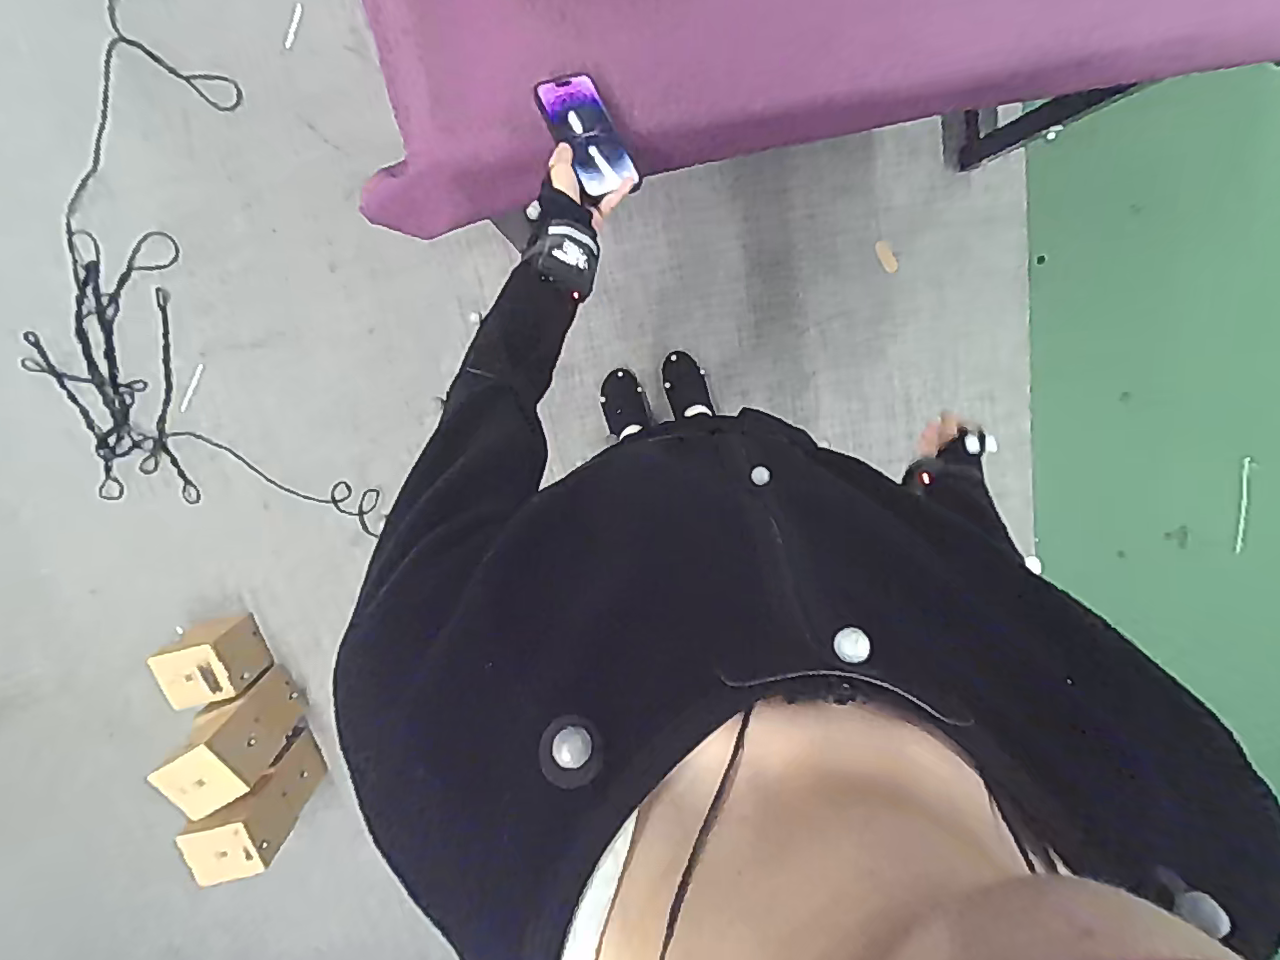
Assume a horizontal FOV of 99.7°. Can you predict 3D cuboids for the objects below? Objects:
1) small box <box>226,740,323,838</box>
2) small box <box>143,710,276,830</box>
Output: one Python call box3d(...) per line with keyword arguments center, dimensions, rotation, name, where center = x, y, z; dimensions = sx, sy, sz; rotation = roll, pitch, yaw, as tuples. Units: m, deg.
box3d(center=(-1.068, 0.887, 1.575), dimensions=(0.168, 0.176, 0.179), rotation=(-13, 105, 0), name="small box")
box3d(center=(-1.068, 0.723, 1.366), dimensions=(0.179, 0.176, 0.168), rotation=(-30, 104, 4), name="small box")
